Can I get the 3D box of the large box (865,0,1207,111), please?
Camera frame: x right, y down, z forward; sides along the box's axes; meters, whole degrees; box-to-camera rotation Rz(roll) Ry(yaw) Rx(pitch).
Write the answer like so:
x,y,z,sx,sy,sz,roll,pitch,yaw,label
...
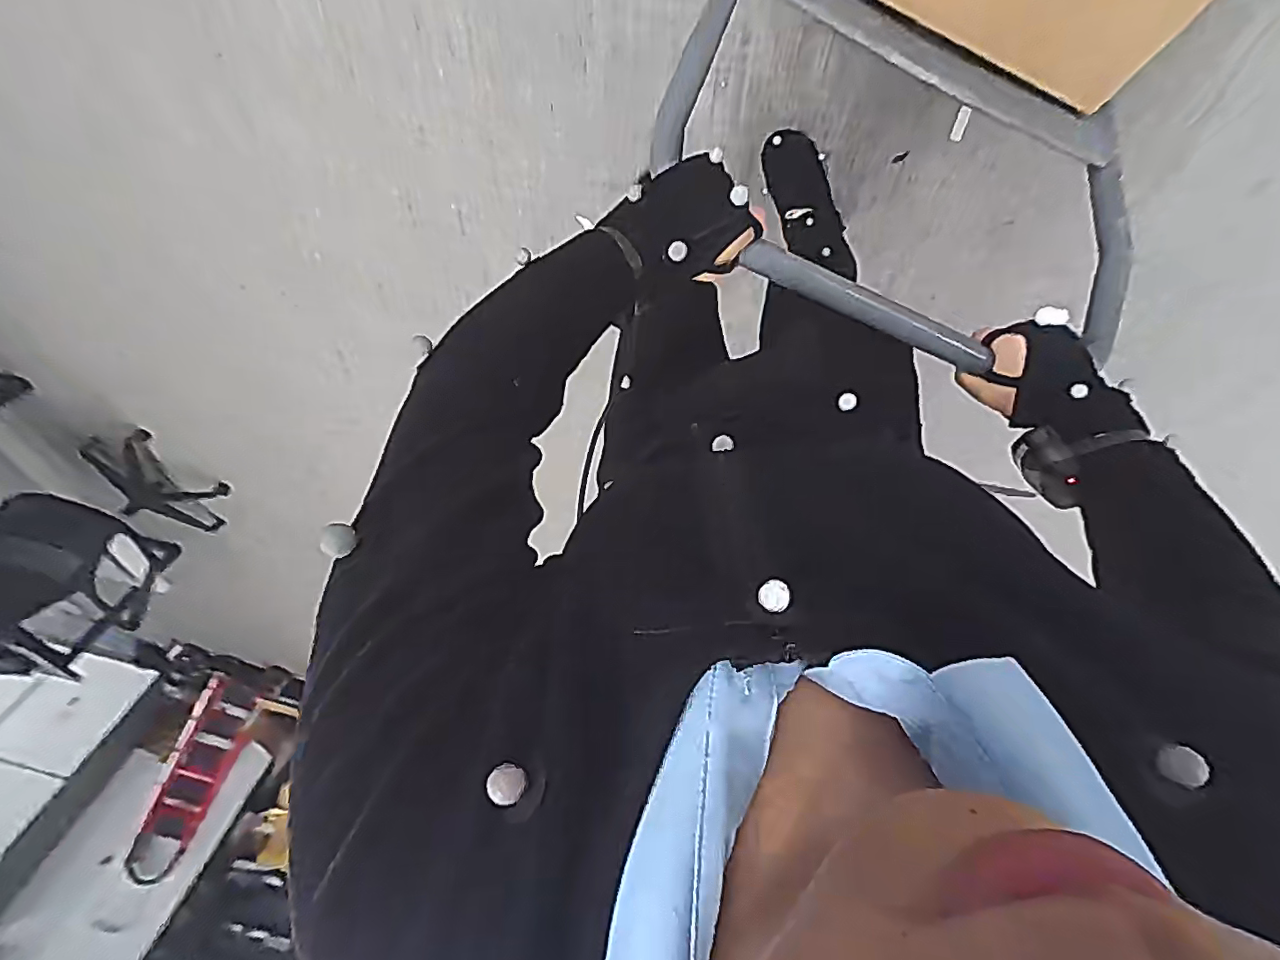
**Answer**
x,y,z,sx,sy,sz,roll,pitch,yaw,label
0.424,-0.685,0.549,0.408,0.320,0.320,21,152,-8,large box
